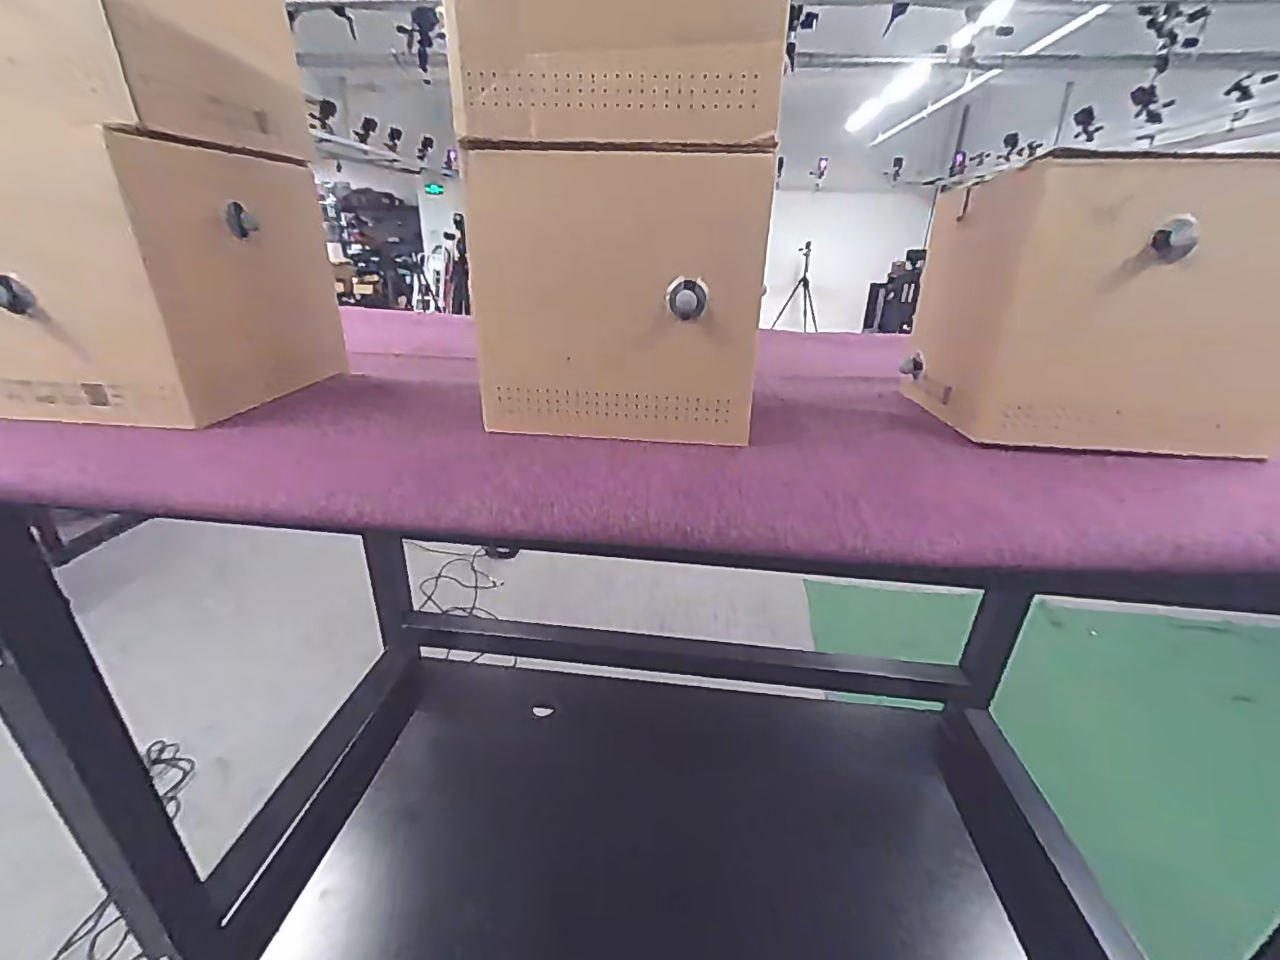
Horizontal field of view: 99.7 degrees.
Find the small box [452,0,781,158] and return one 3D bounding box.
[{"bbox_3d":[-0.009,-0.282,0.337,0.179,0.176,0.168,3,22,2],"label":"small box"}]

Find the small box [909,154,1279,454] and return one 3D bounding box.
[{"bbox_3d":[0.316,-0.122,0.395,0.179,0.176,0.168,5,21,7],"label":"small box"}]

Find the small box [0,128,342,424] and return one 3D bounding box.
[{"bbox_3d":[-0.350,-0.146,0.398,0.168,0.176,0.179,4,24,2],"label":"small box"}]

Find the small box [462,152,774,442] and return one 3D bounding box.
[{"bbox_3d":[-0.008,-0.131,0.399,0.179,0.176,0.168,3,22,5],"label":"small box"}]
